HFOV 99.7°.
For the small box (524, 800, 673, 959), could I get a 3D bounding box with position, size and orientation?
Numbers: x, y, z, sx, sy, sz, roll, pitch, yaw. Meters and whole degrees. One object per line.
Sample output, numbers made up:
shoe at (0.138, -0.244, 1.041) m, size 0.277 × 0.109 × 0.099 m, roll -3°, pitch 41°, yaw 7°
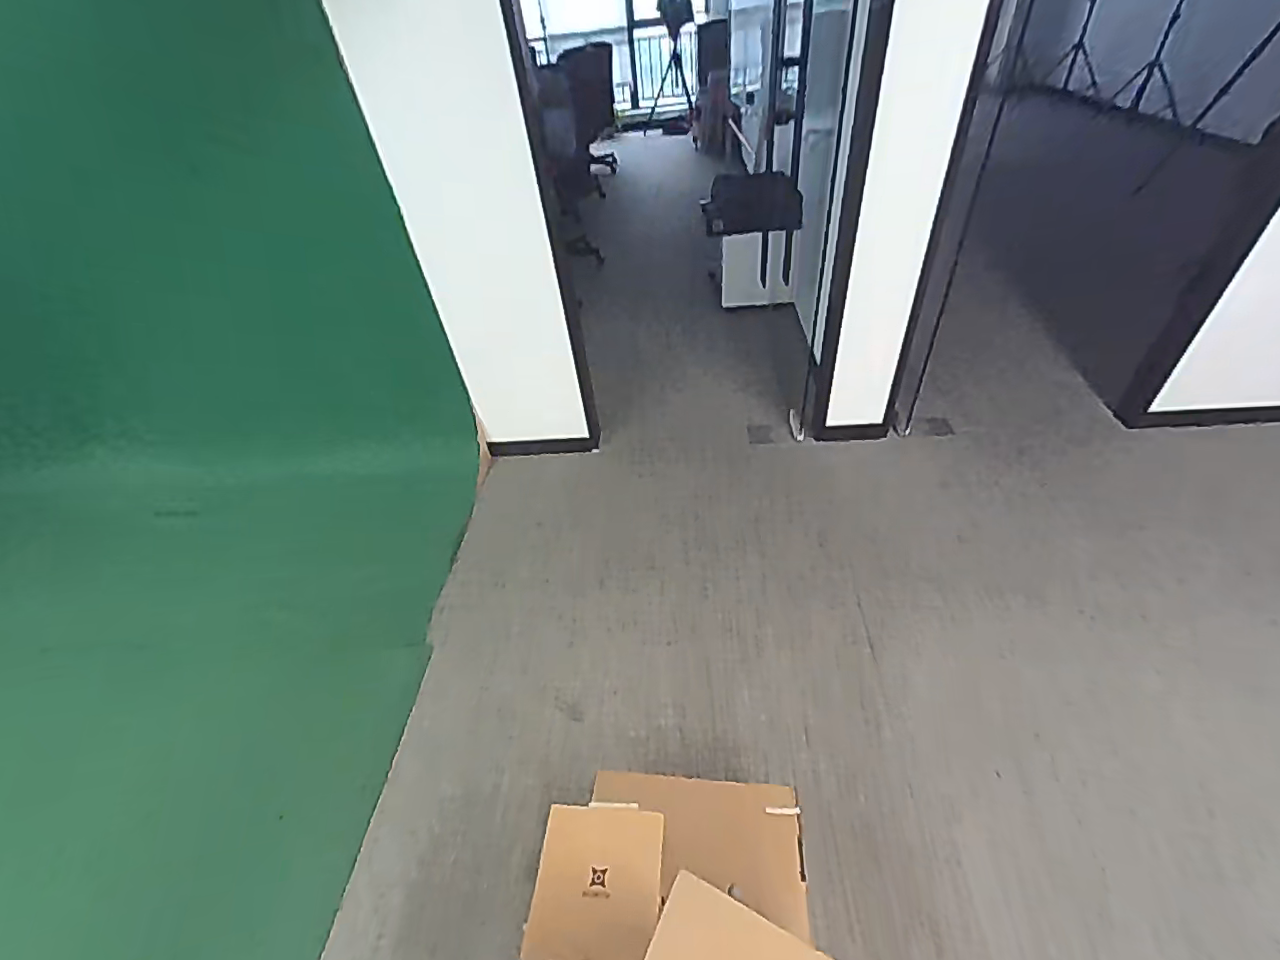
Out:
small box at (-0.044, 0.579, 0.756) m, size 0.168 × 0.176 × 0.179 m, roll 0°, pitch 43°, yaw 9°
